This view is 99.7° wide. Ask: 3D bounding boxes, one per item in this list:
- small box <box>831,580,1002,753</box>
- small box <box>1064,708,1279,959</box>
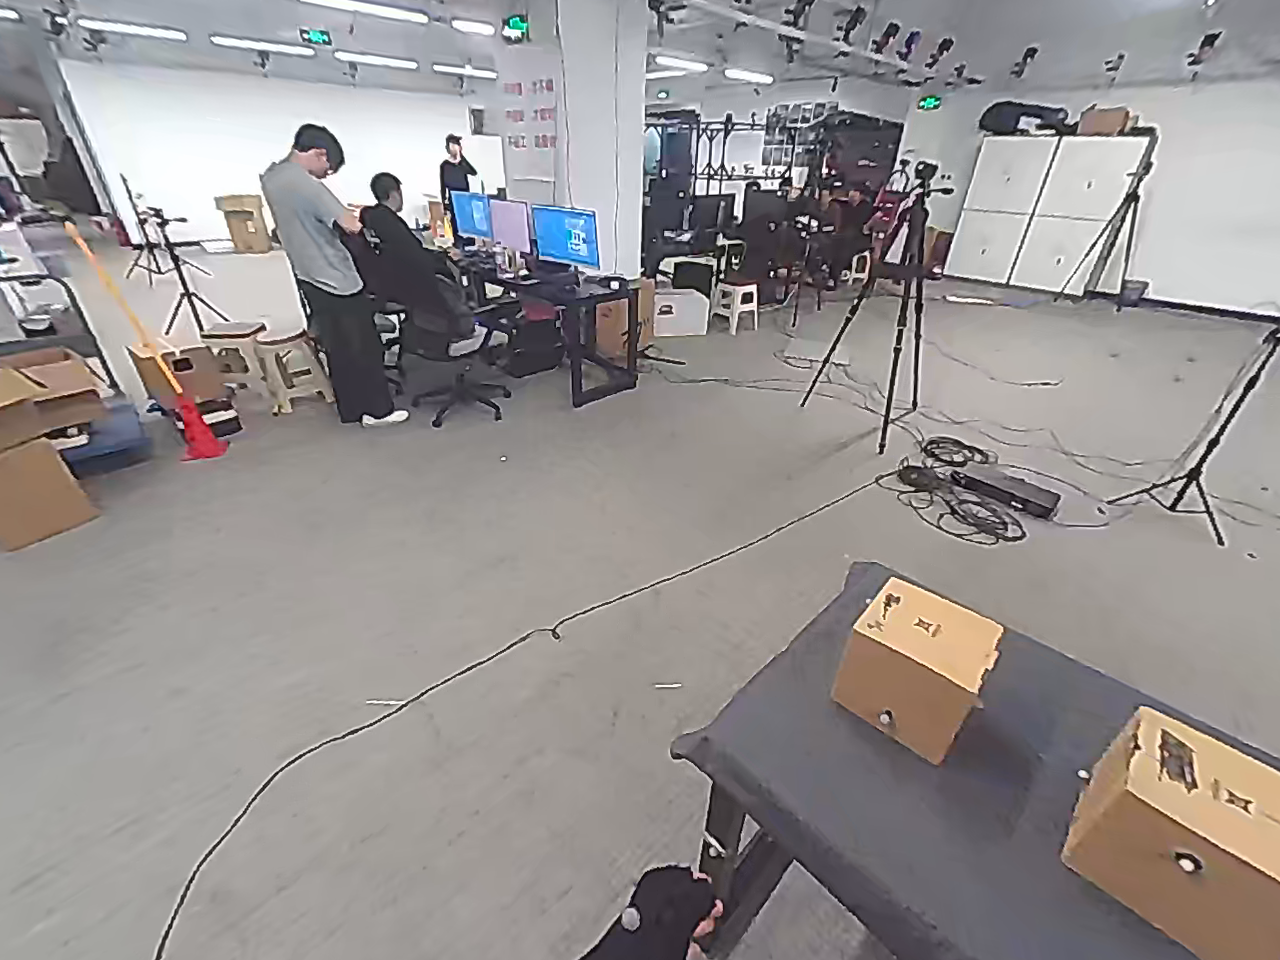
[{"bbox_3d":[0.436,0.301,0.869,0.179,0.176,0.168,27,38,34],"label":"small box"},{"bbox_3d":[0.663,0.431,0.661,0.168,0.176,0.179,-26,41,-38],"label":"small box"}]
